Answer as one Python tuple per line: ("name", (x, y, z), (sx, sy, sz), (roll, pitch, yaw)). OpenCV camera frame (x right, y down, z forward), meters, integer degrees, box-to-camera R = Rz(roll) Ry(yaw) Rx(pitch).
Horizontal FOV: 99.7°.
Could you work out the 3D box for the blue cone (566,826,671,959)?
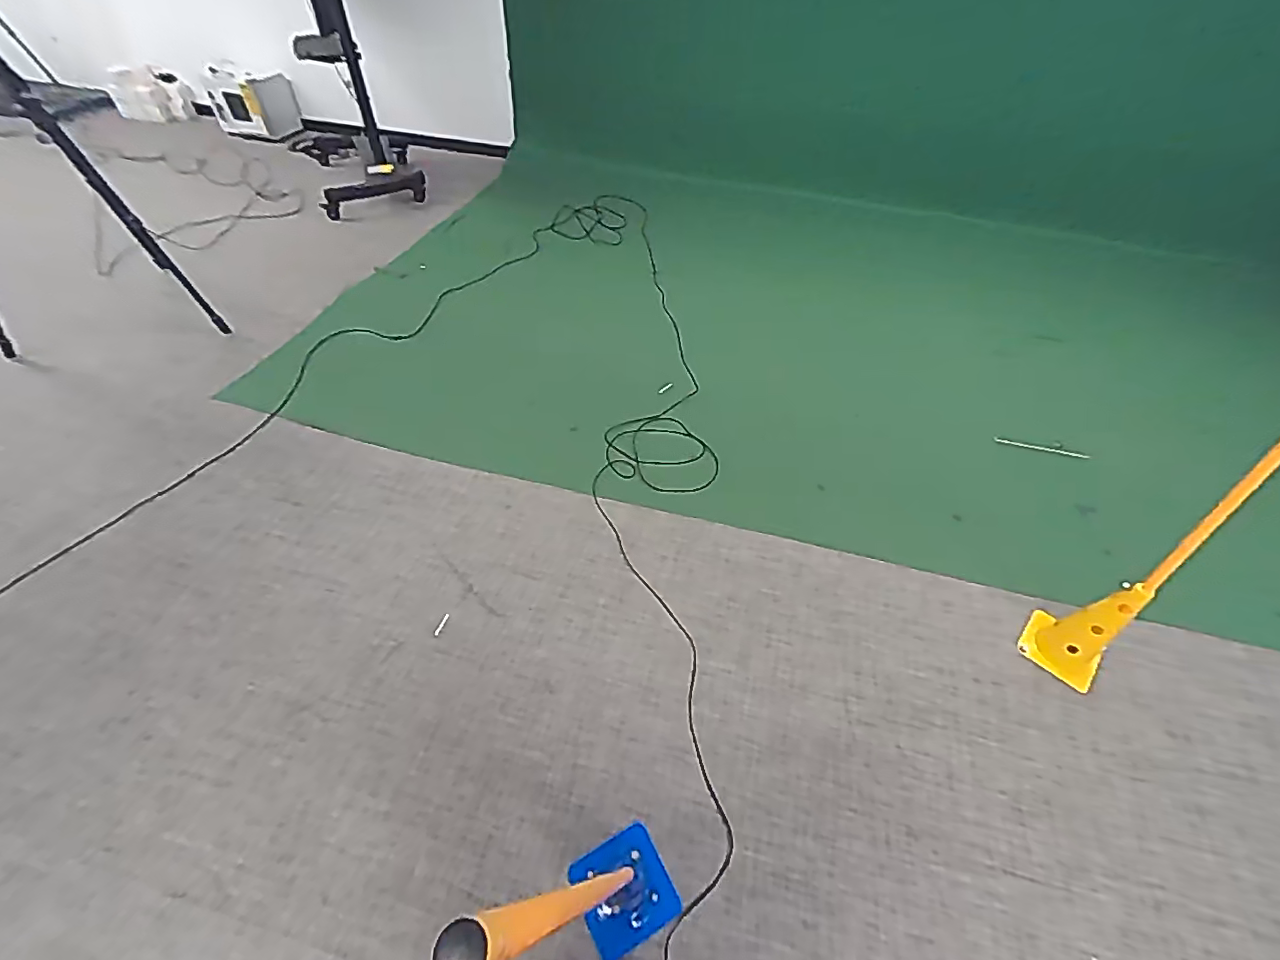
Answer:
("blue cone", (-0.040, 0.795, 1.057), (0.193, 0.380, 0.192), (-23, 55, -21))
